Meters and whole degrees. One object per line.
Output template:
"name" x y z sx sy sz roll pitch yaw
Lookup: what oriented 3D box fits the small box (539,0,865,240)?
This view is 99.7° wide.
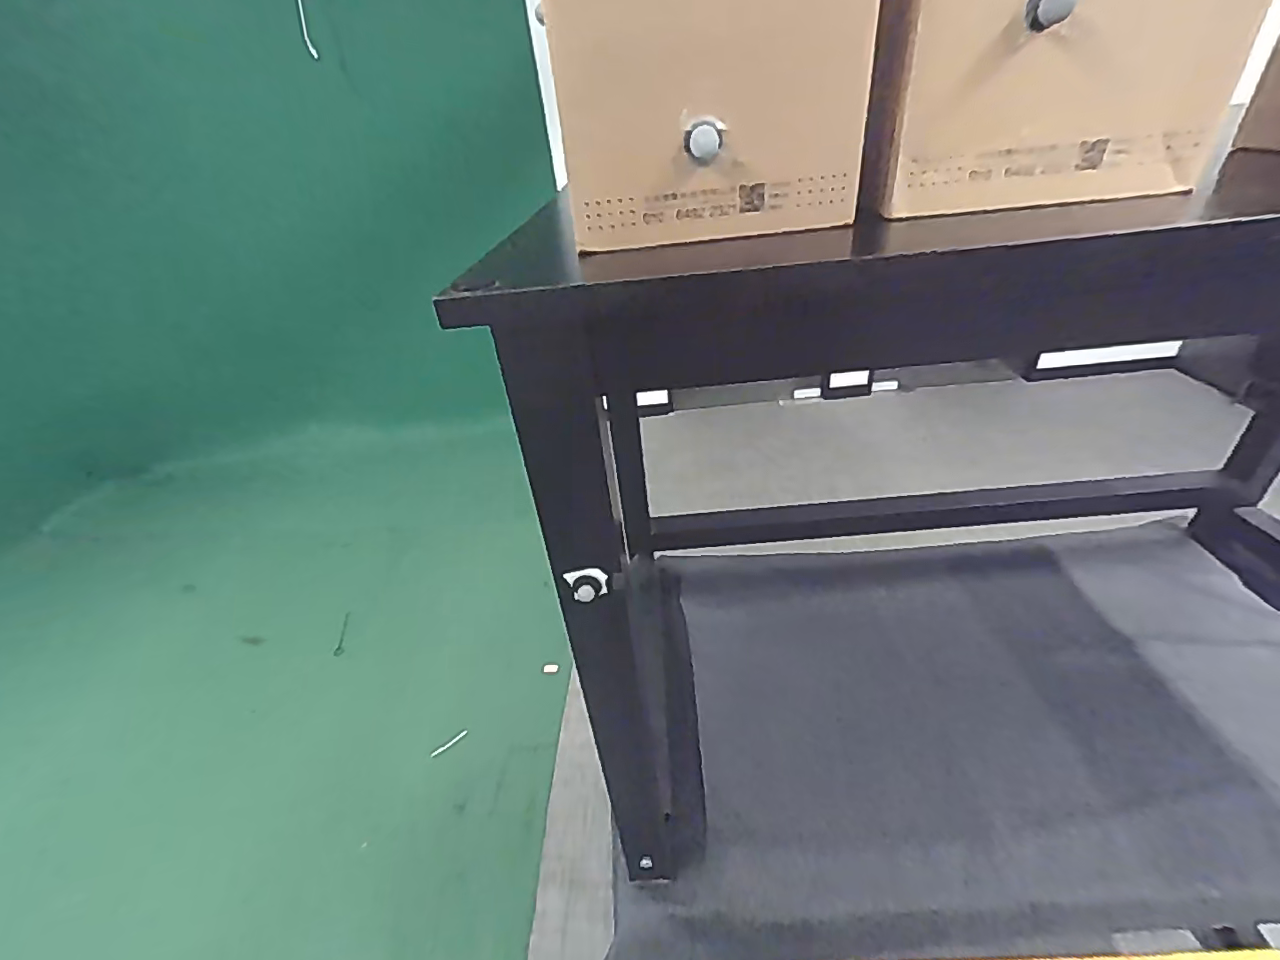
"small box" 0.030 -0.260 0.348 0.168 0.176 0.179 -5 34 2
